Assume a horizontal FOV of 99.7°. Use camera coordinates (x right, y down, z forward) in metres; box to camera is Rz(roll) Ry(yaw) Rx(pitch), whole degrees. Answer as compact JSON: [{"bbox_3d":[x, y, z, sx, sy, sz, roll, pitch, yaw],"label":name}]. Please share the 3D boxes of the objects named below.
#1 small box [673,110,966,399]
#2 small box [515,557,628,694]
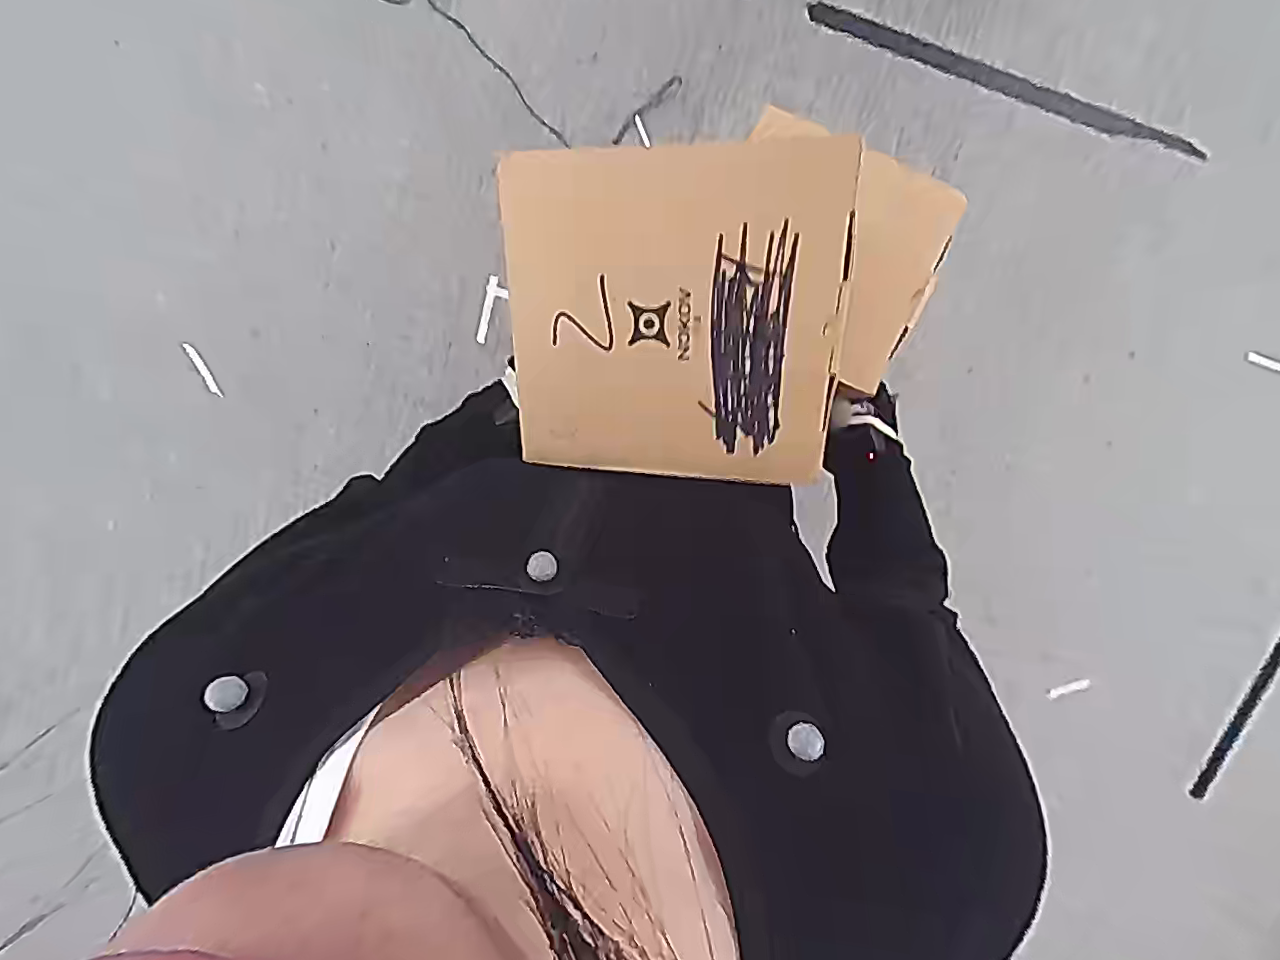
[{"bbox_3d":[0.145,-0.187,0.505,0.179,0.176,0.168,24,96,-4],"label":"small box"},{"bbox_3d":[-0.117,0.254,0.984,0.168,0.176,0.179,11,100,-1],"label":"small box"}]
